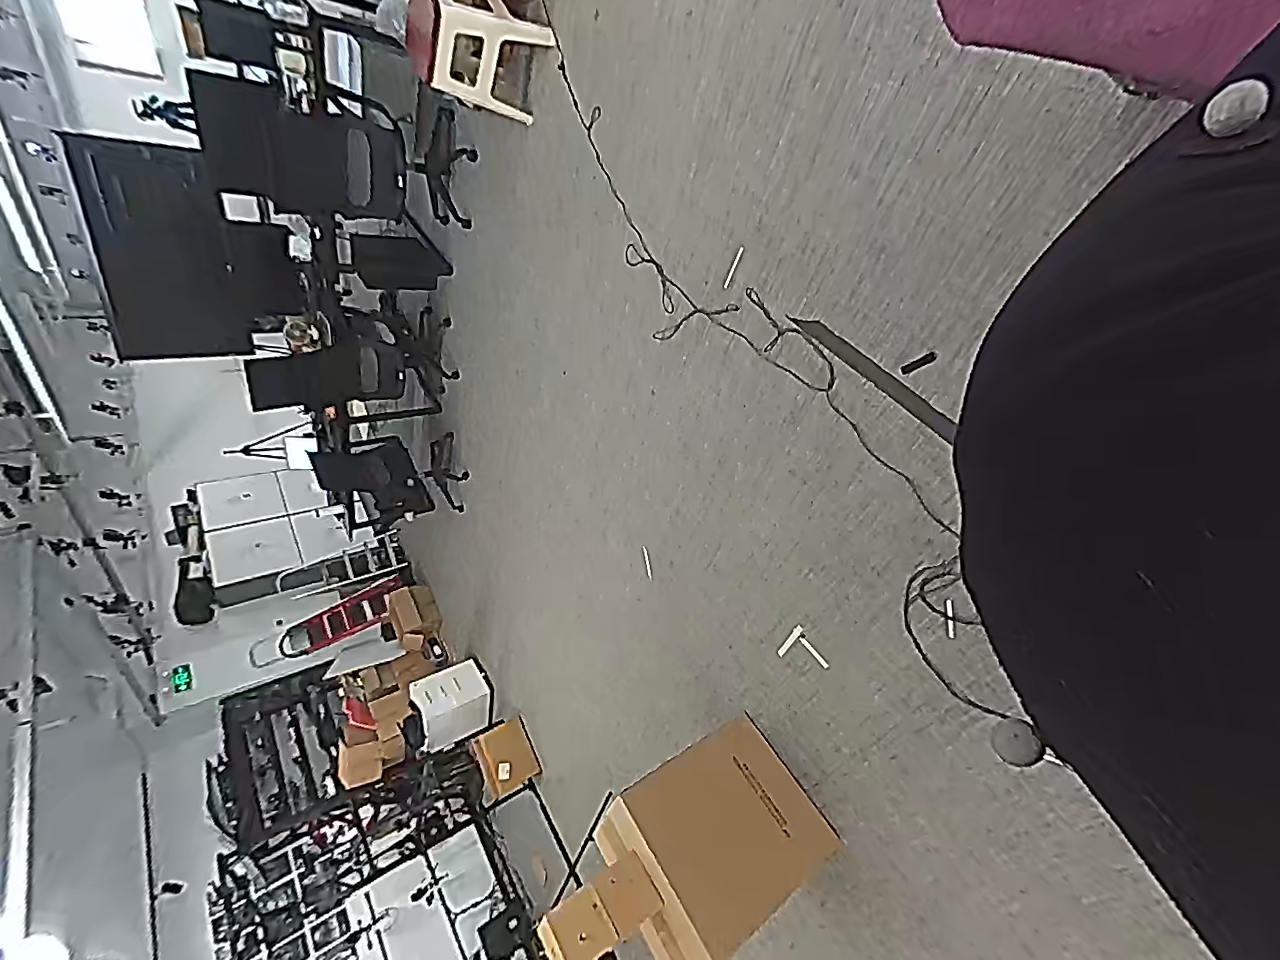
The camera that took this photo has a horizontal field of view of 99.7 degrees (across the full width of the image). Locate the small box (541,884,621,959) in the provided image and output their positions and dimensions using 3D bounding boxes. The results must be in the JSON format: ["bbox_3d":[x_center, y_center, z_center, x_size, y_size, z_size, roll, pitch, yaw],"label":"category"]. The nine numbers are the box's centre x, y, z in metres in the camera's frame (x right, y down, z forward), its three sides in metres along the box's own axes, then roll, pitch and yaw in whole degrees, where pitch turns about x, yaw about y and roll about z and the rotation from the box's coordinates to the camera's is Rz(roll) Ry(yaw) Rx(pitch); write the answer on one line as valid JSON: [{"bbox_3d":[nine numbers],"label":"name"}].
[{"bbox_3d":[-0.177,1.371,1.633,0.168,0.176,0.179,48,137,33],"label":"small box"}]
